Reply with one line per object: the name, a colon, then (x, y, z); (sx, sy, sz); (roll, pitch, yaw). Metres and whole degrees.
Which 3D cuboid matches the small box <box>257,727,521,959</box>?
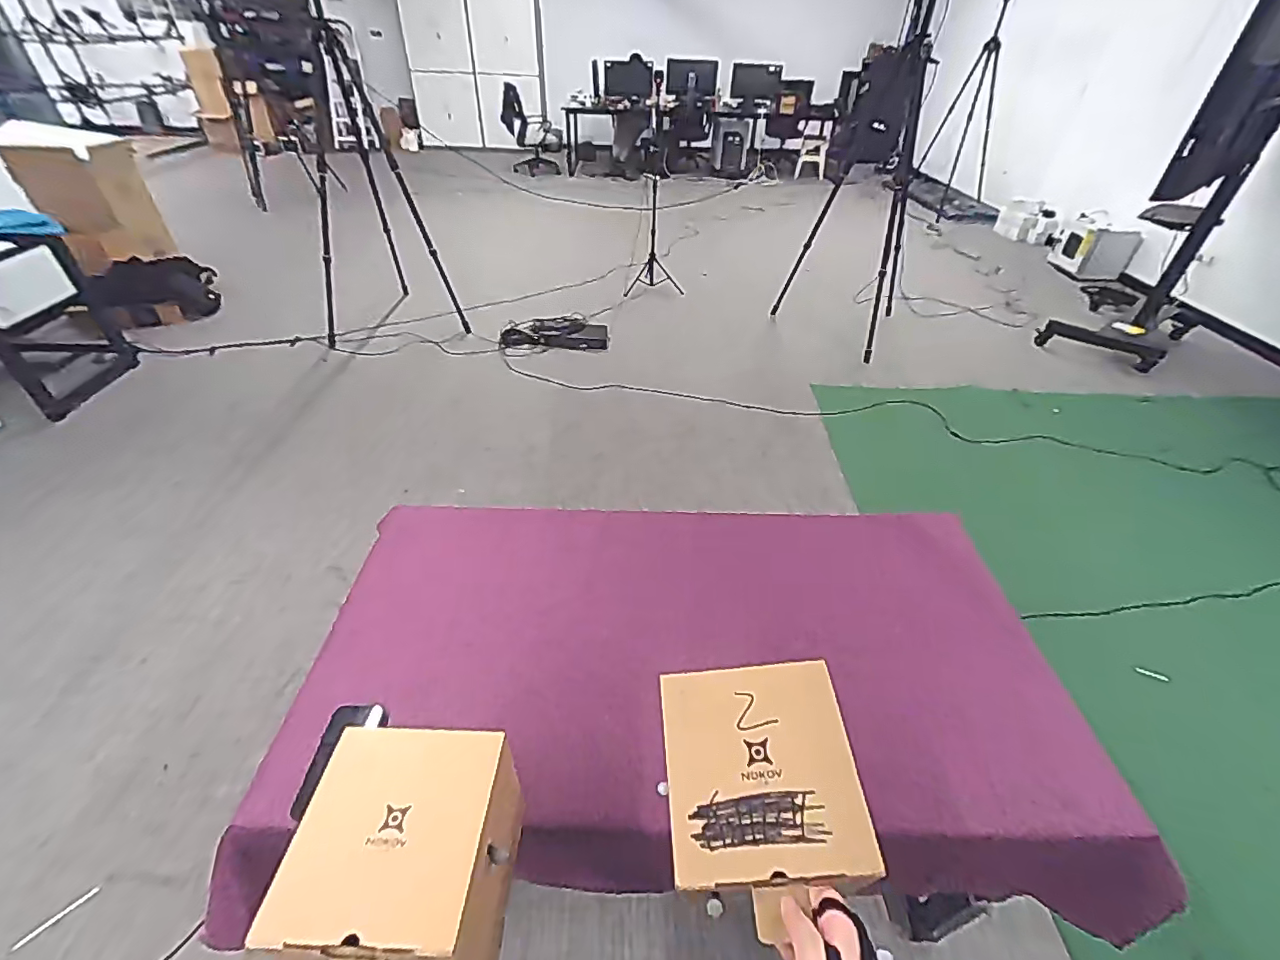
small box: (-0.221, 0.375, 0.538); (0.168, 0.176, 0.179); (2, 38, 2)
